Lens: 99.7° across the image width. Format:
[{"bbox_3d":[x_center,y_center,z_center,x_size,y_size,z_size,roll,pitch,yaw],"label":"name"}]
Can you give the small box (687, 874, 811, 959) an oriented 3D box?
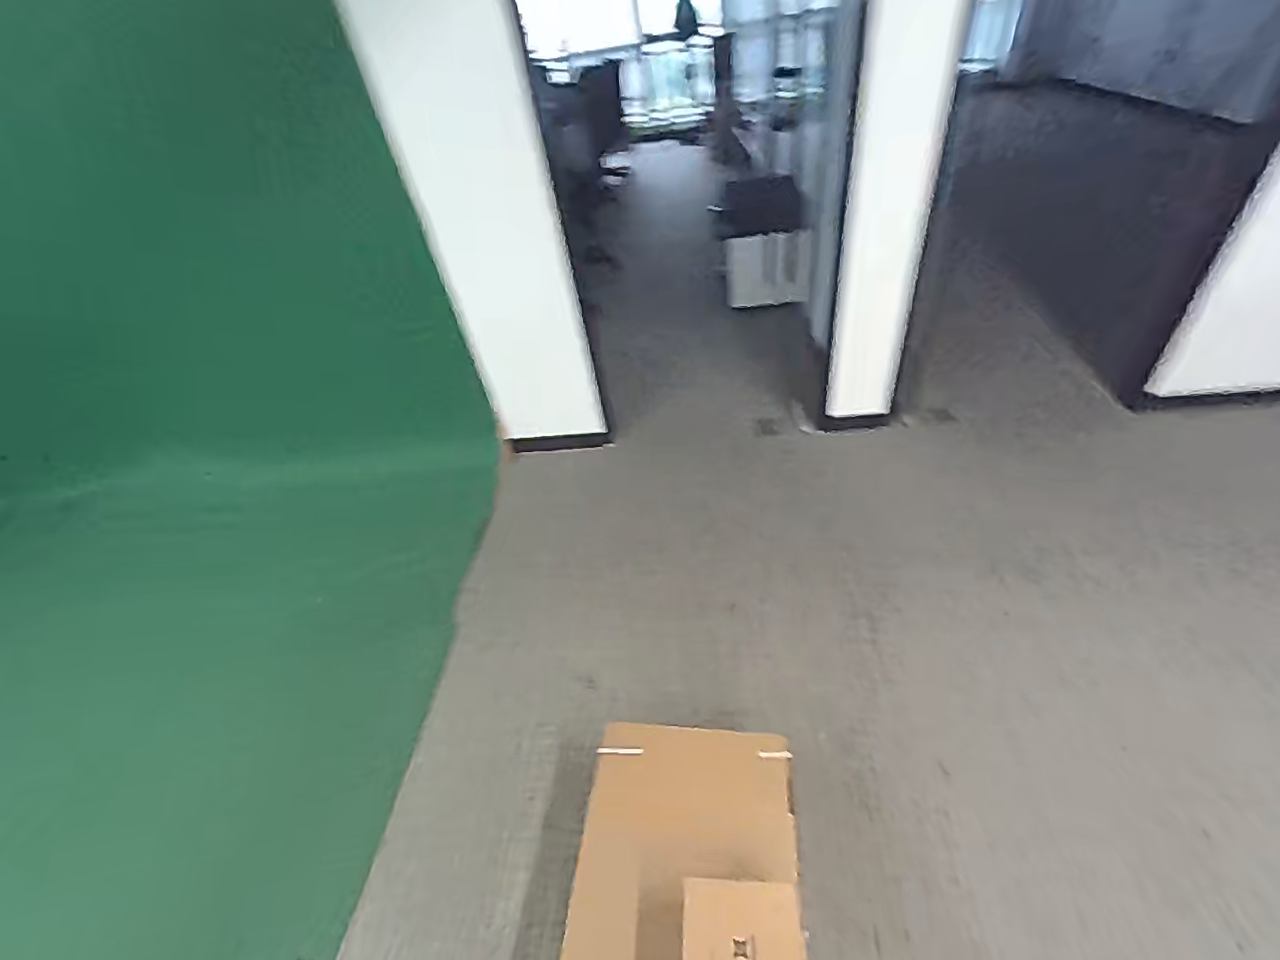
[{"bbox_3d":[0.166,0.730,0.829,0.179,0.176,0.168,-3,40,9],"label":"small box"}]
